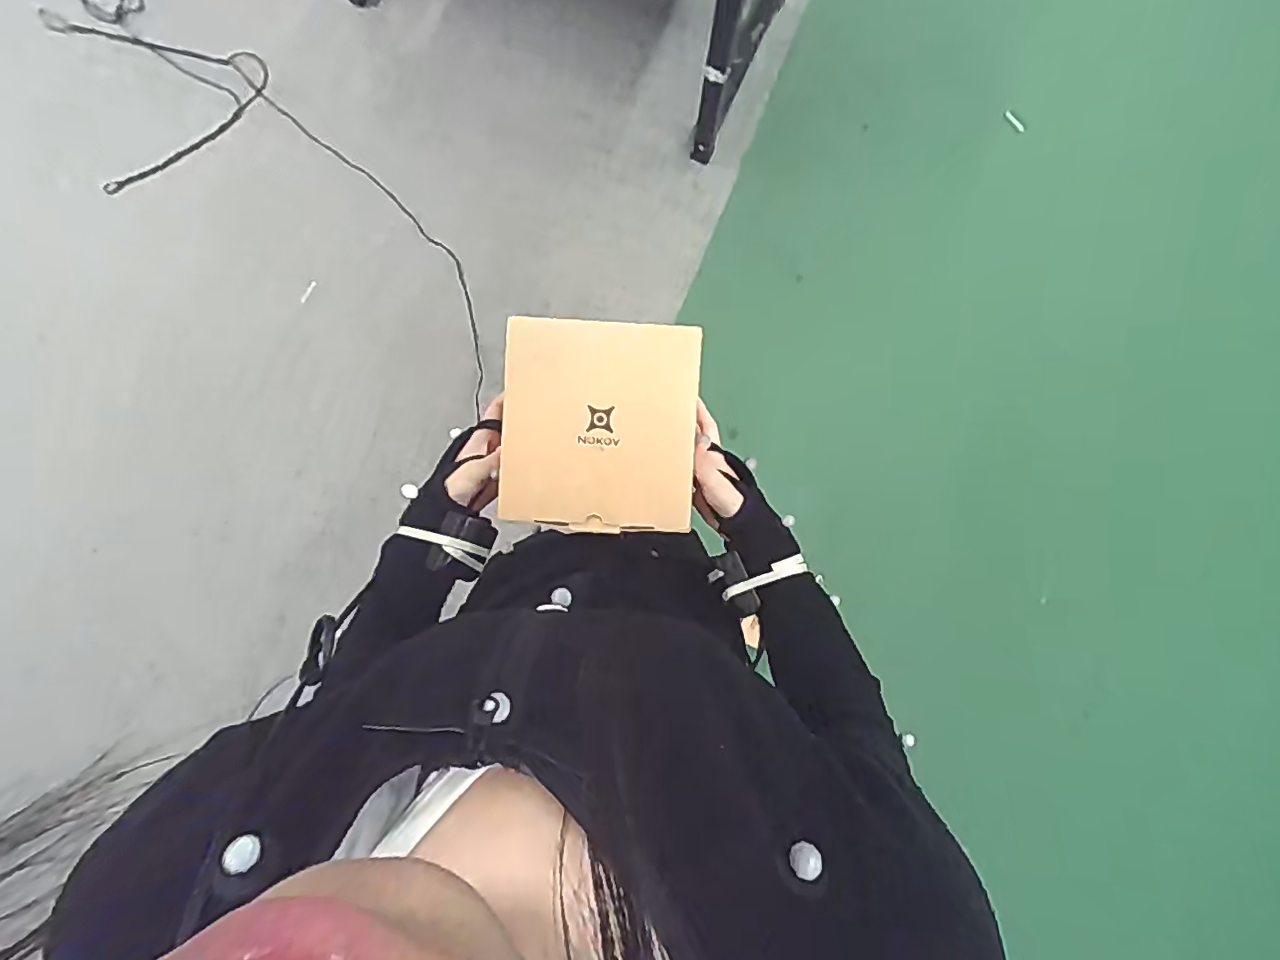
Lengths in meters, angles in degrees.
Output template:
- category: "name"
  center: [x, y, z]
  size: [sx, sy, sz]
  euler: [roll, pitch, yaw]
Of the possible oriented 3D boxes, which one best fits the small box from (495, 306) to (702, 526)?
- category: "small box"
  center: [-0.037, -0.055, 0.528]
  size: [0.168, 0.176, 0.179]
  euler: [3, 93, -1]
